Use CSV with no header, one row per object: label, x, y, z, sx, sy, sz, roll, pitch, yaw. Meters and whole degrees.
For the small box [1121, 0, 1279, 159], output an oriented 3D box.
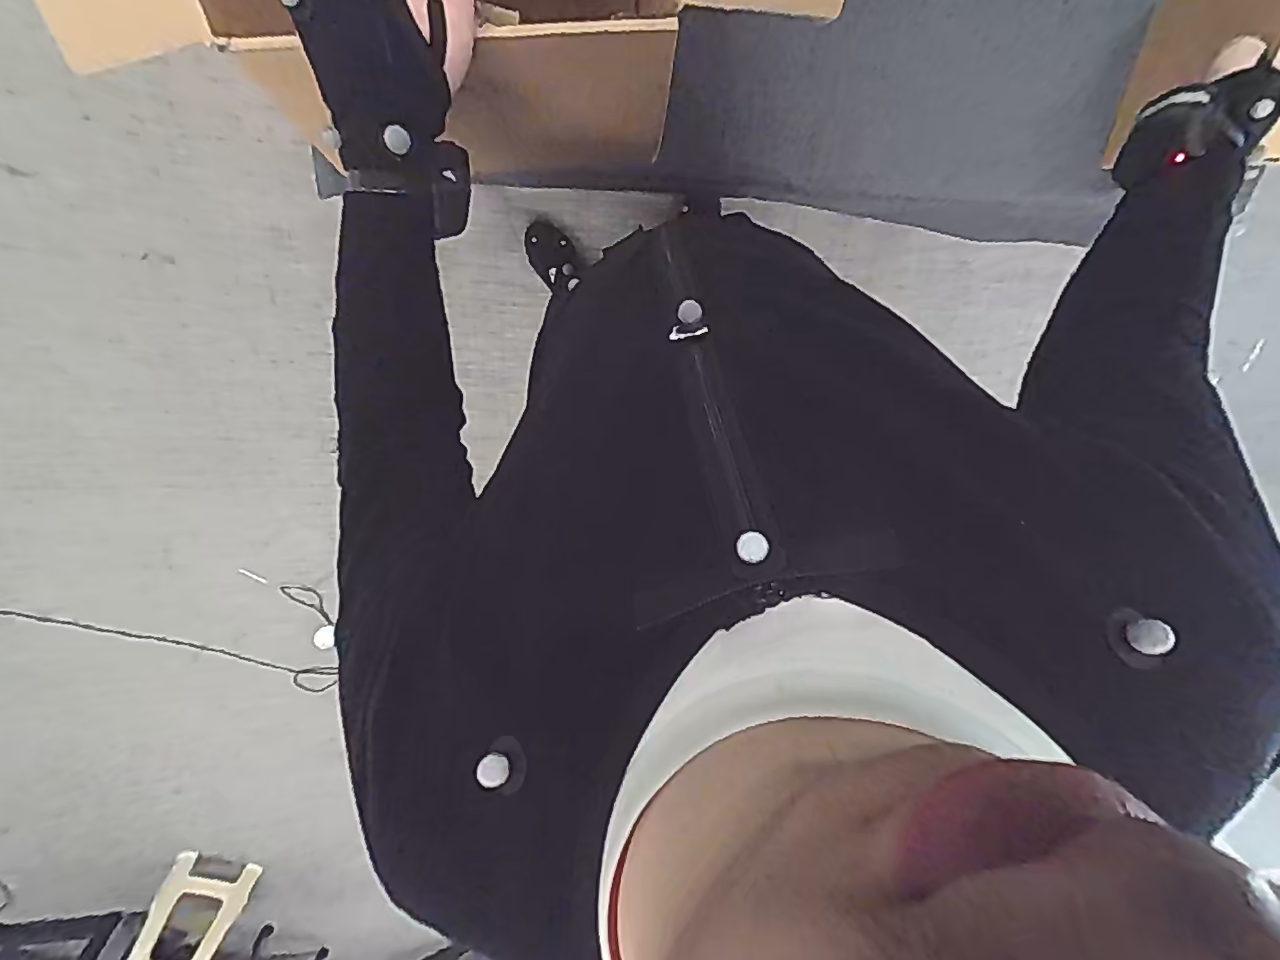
small box,0.693,-0.455,0.592,0.168,0.176,0.179,-3,118,-3
